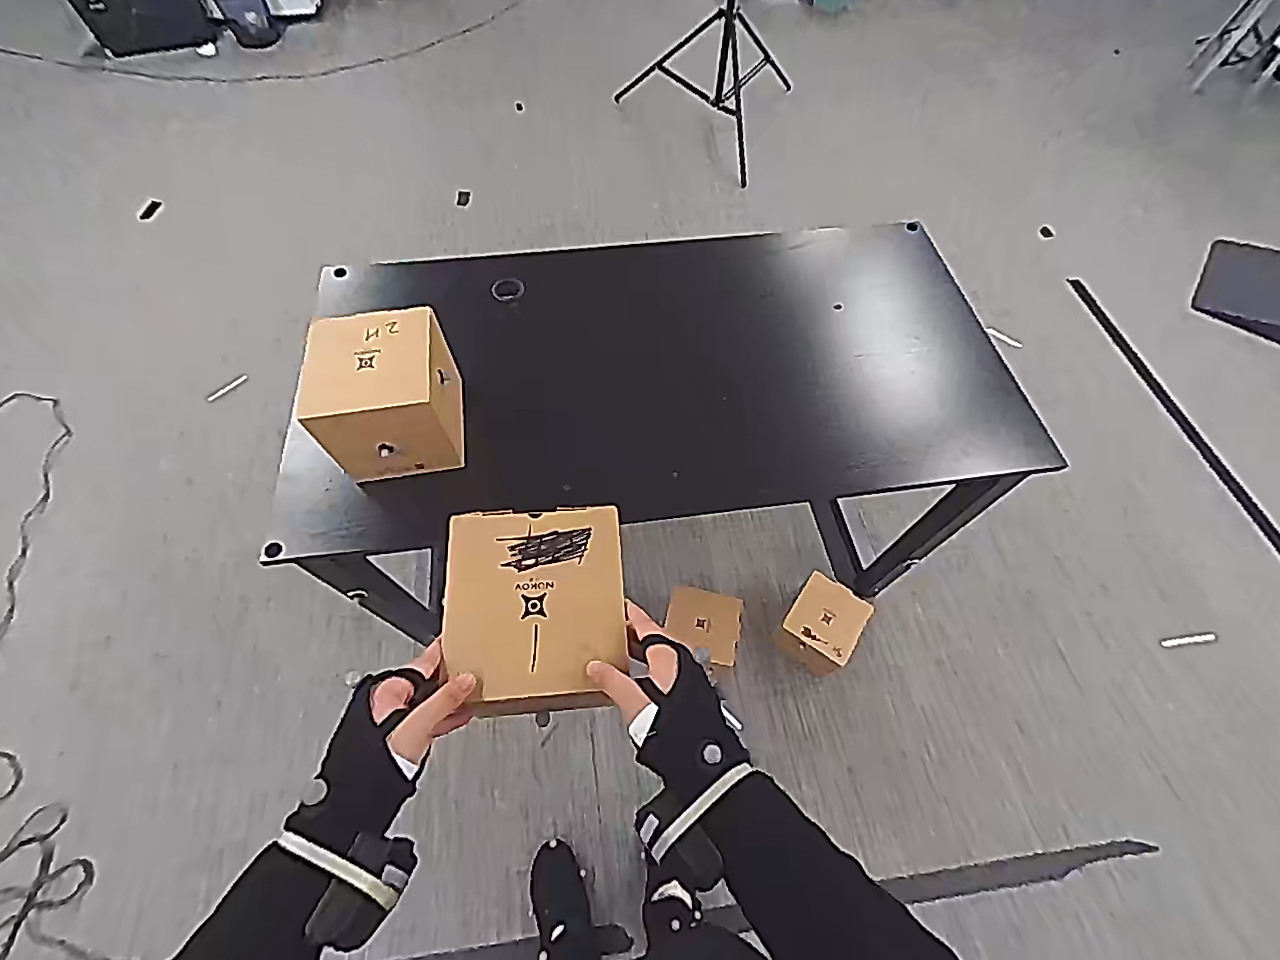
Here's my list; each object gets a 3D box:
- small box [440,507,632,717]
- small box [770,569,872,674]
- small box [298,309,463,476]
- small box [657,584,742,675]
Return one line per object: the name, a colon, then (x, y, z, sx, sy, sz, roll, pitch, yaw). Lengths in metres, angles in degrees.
small box: (-0.100, 0.144, 0.571, 0.168, 0.176, 0.179, -4, 64, -5)
small box: (0.449, 0.362, 1.367, 0.168, 0.176, 0.179, 32, 66, 16)
small box: (-0.364, -0.118, 0.792, 0.168, 0.176, 0.179, -9, 61, -6)
small box: (0.146, 0.380, 1.358, 0.179, 0.176, 0.168, 11, 61, 7)
